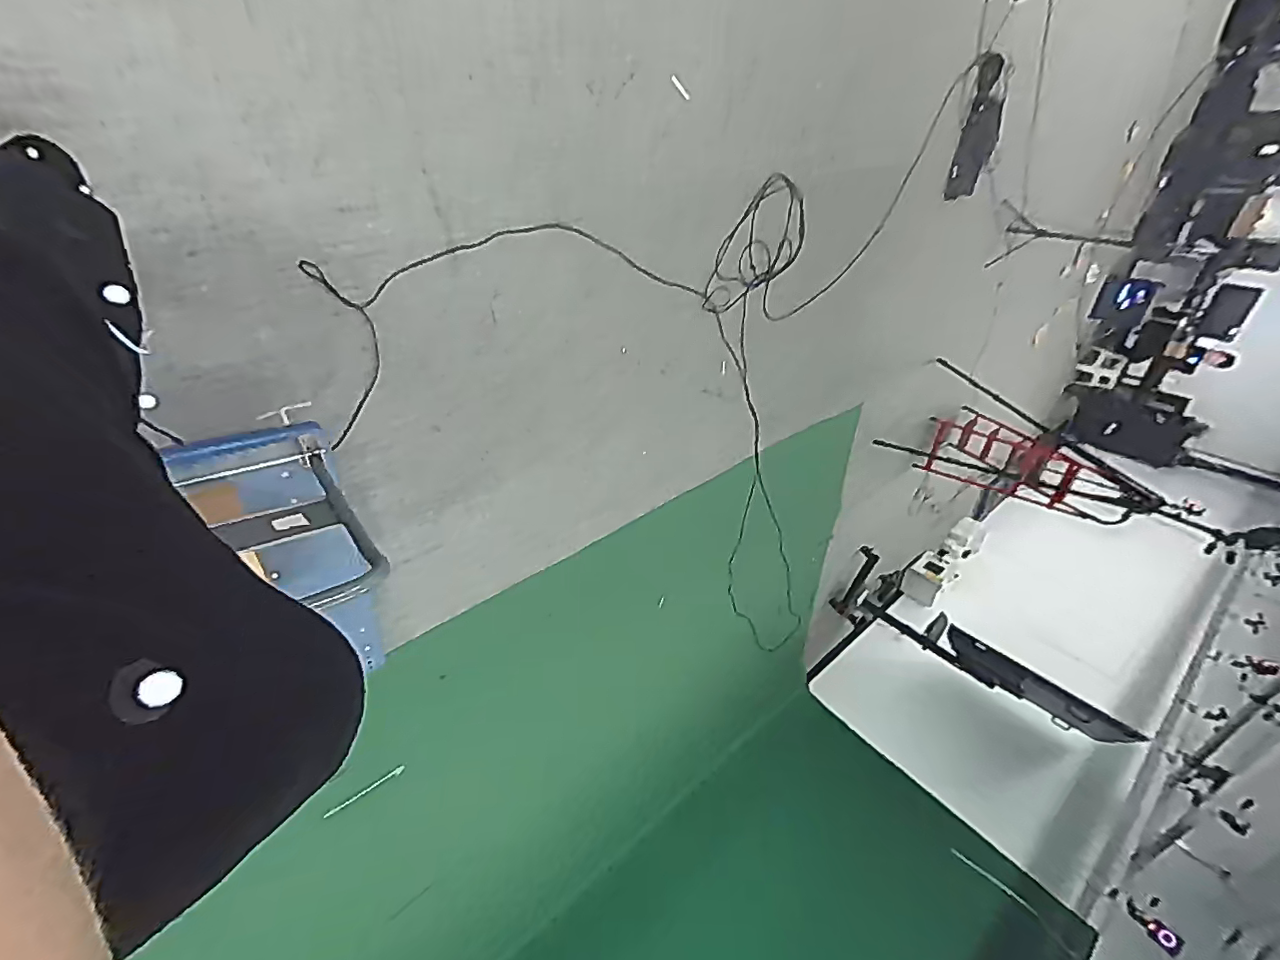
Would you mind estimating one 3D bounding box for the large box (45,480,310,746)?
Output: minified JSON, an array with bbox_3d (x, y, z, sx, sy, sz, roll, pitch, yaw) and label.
[{"bbox_3d":[-0.990,0.273,1.190,0.320,0.320,0.408,-21,129,-34],"label":"large box"}]
